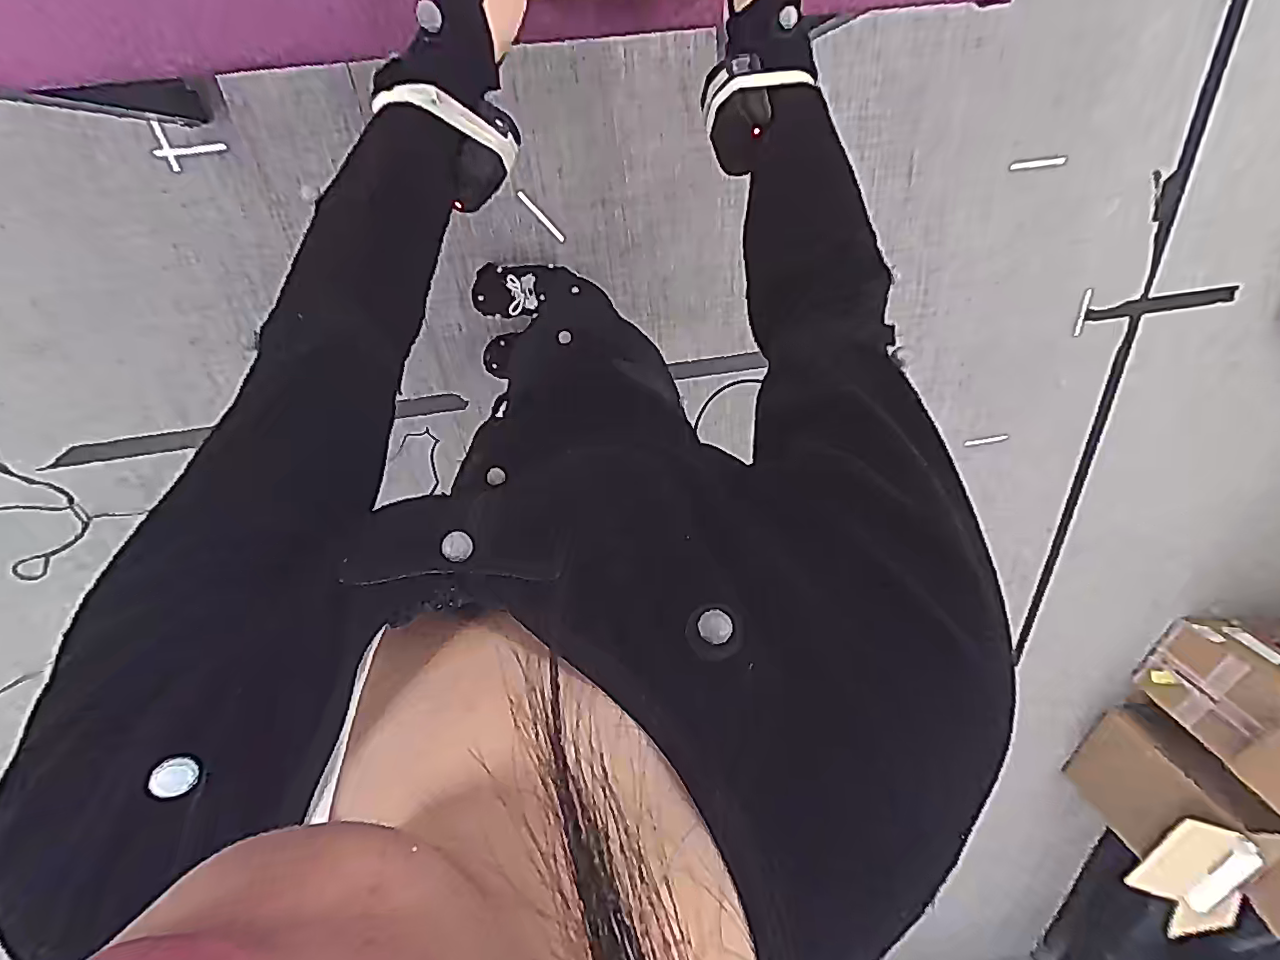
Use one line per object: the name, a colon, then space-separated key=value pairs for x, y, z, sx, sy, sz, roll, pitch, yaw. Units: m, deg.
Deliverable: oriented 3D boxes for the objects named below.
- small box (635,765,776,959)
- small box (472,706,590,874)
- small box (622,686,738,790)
small box: x=0.093 y=0.566 z=0.809 sx=0.168 sy=0.176 sz=0.179 roll=-11 pitch=120 yaw=-6
small box: x=-0.177 y=0.517 z=0.915 sx=0.168 sy=0.176 sz=0.179 roll=-8 pitch=119 yaw=-8
small box: x=0.067 y=0.485 z=0.947 sx=0.168 sy=0.176 sz=0.179 roll=-10 pitch=121 yaw=-6
